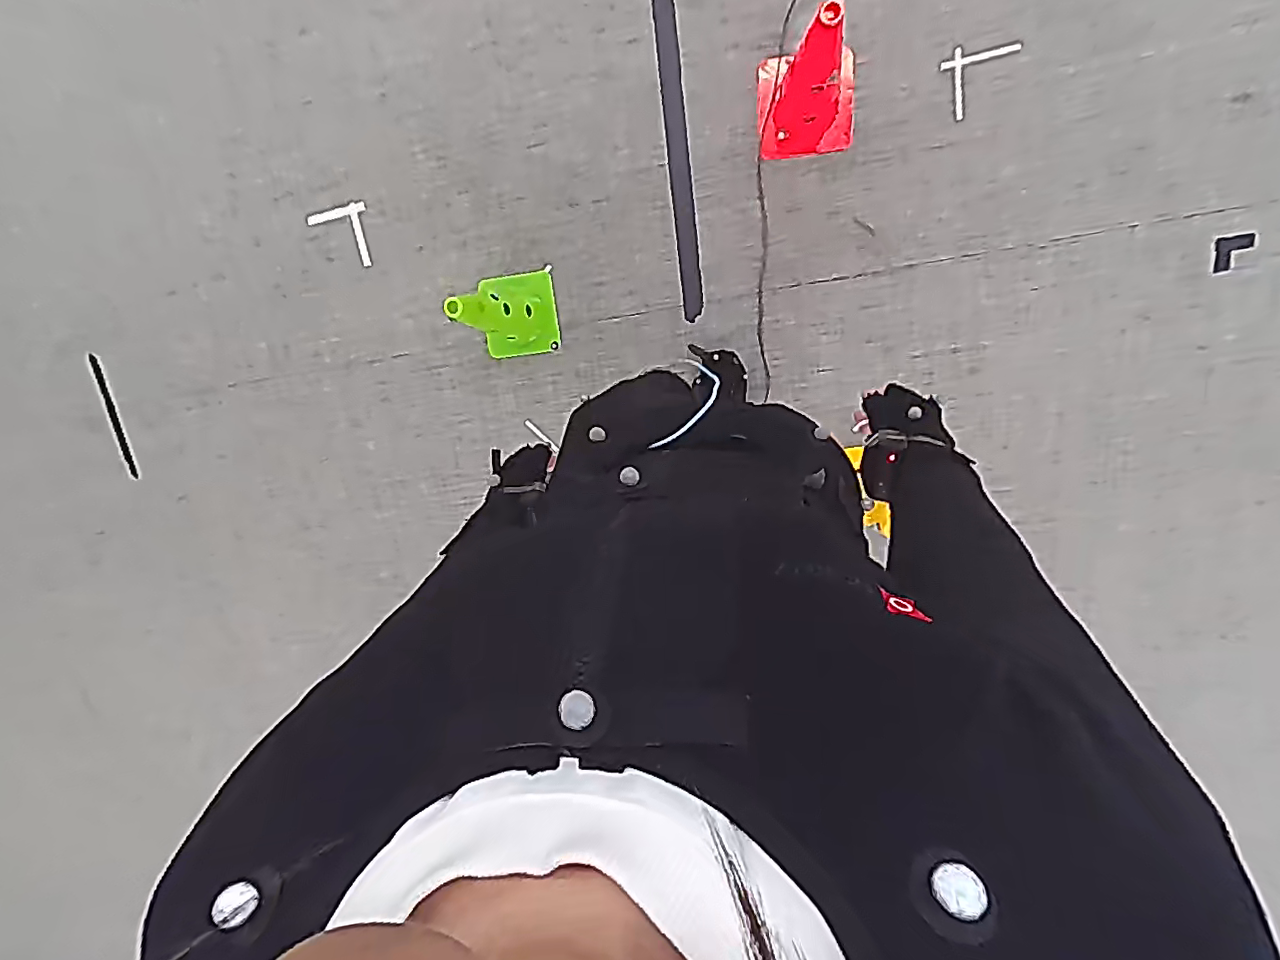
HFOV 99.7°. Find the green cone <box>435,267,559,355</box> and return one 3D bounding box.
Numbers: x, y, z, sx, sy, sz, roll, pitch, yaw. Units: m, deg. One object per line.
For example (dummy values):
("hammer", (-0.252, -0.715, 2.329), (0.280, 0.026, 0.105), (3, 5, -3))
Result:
("green cone", (-0.346, -0.394, 1.230), (0.202, 0.368, 0.200), (-5, 102, 12))

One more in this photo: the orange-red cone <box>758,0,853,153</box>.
("orange-red cone", (0.335, -0.788, 1.020), (0.199, 0.360, 0.198), (-1, 104, 9))
